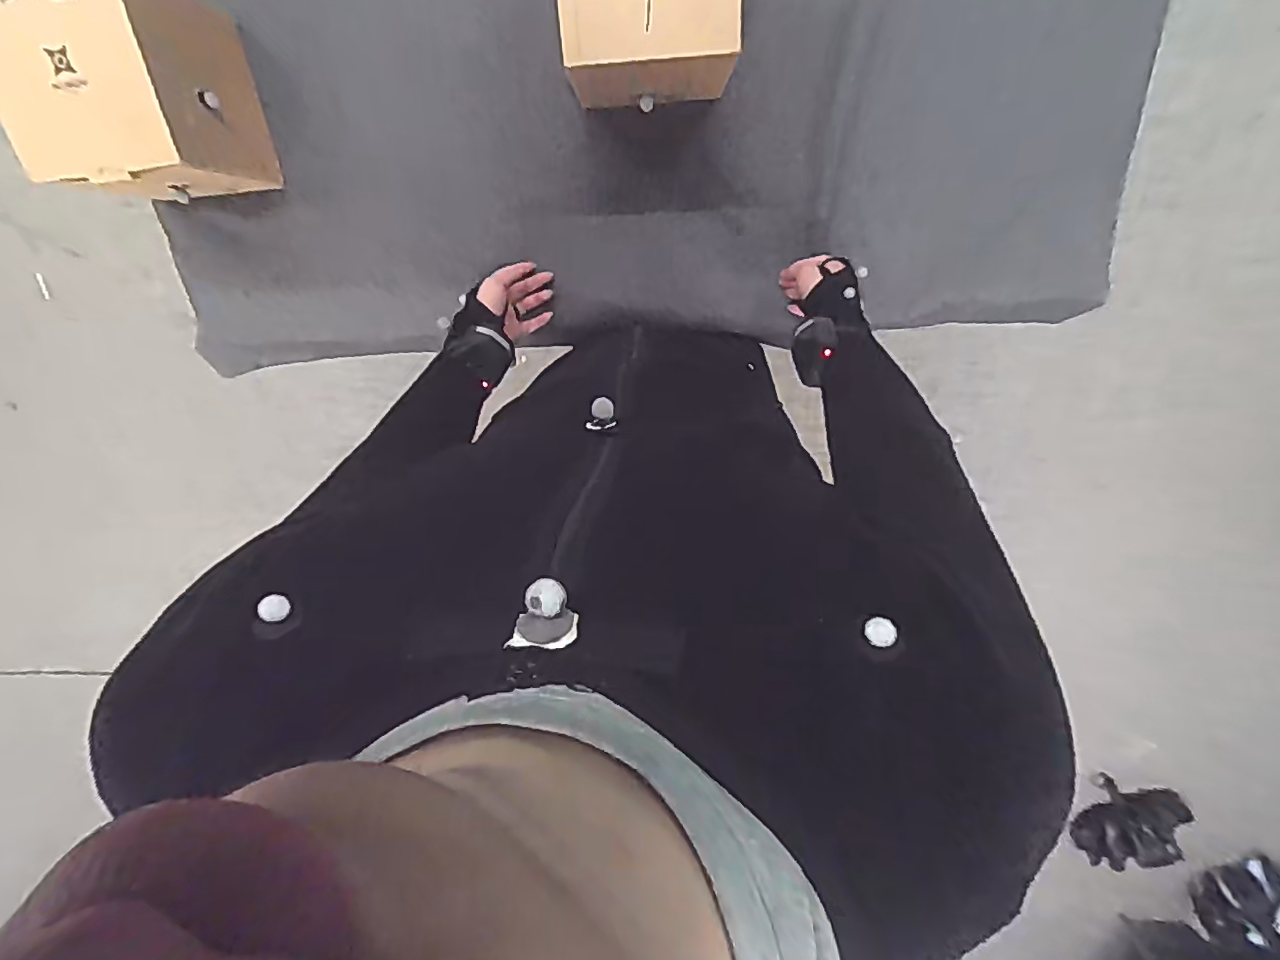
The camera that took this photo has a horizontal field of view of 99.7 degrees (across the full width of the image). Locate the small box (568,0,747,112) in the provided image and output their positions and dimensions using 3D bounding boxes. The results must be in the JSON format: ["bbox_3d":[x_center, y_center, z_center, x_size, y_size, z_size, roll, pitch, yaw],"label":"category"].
[{"bbox_3d":[0.014,-0.498,0.548,0.168,0.176,0.179,-2,114,2],"label":"small box"}]

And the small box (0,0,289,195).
[{"bbox_3d":[-0.530,-0.417,0.591,0.168,0.176,0.179,-5,114,3],"label":"small box"}]
